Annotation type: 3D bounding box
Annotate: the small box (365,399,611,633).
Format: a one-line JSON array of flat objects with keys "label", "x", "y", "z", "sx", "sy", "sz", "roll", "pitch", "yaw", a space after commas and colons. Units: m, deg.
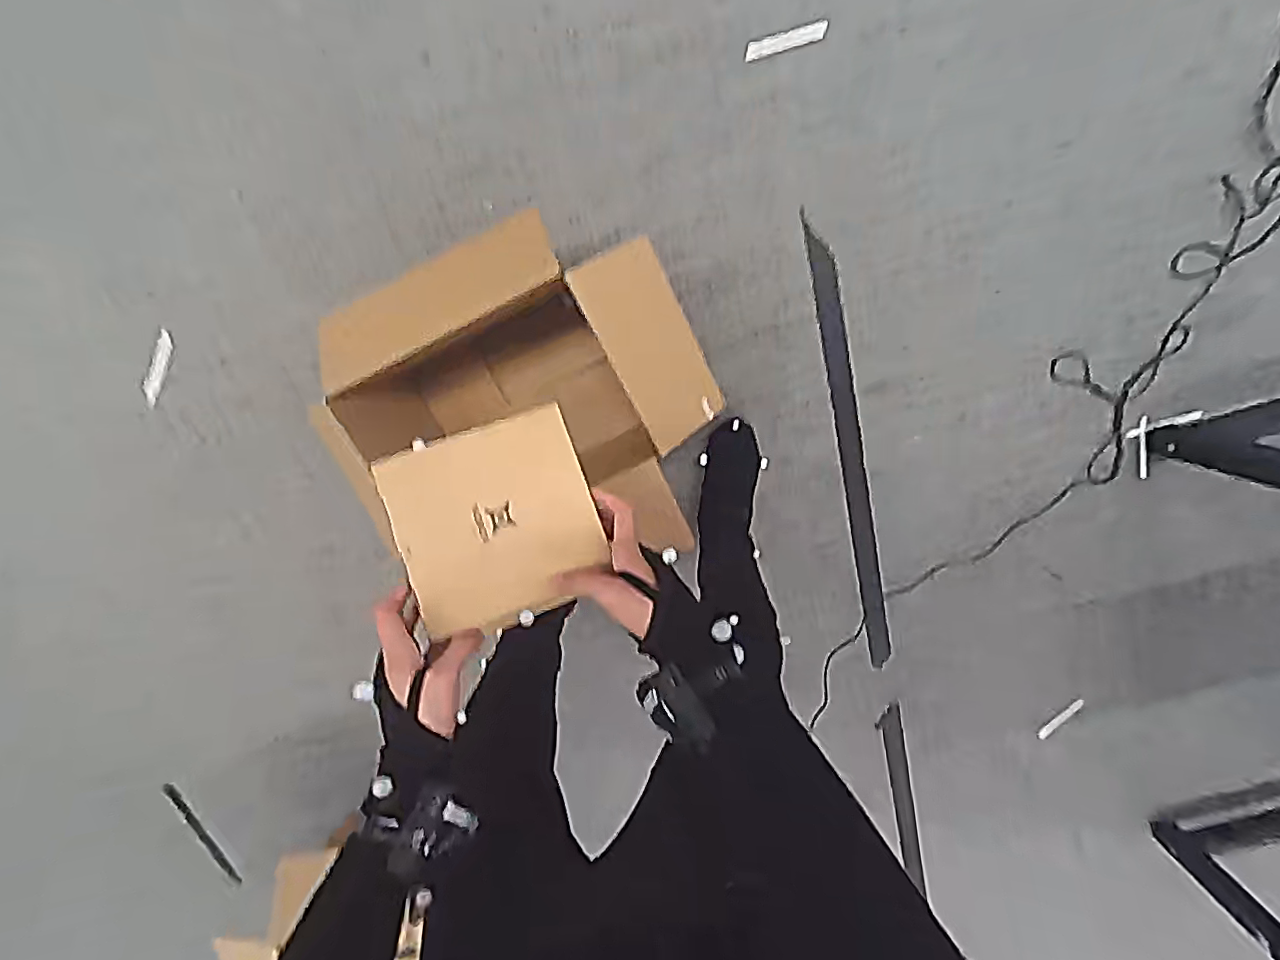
[{"label": "small box", "x": -0.143, "y": 0.036, "z": 0.558, "sx": 0.179, "sy": 0.176, "sz": 0.168, "roll": -21, "pitch": 87, "yaw": -8}]
